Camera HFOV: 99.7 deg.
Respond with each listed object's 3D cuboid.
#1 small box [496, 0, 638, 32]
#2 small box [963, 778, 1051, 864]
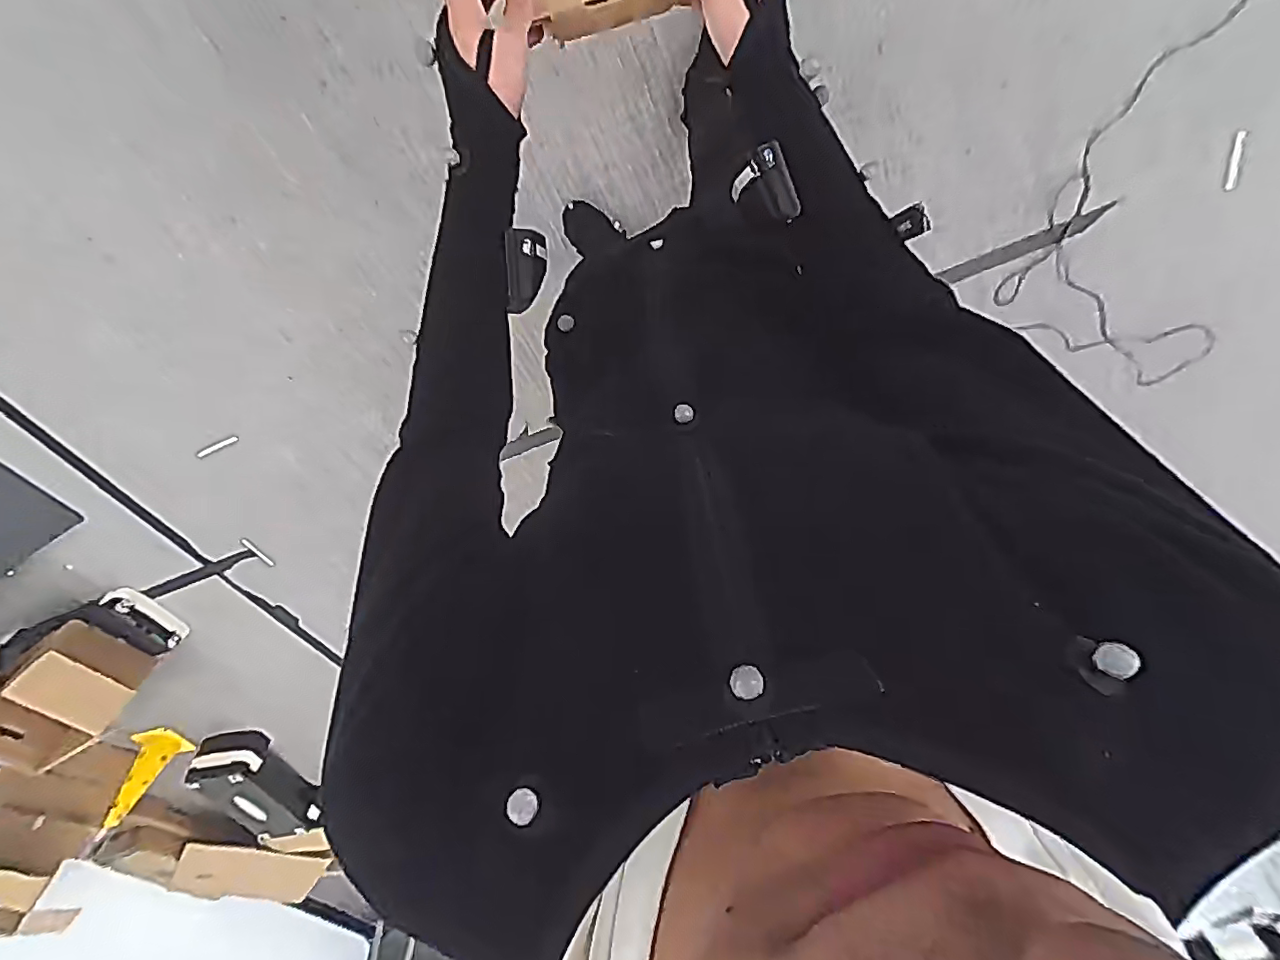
[{"bbox_3d":[-0.057,-0.494,0.438,0.168,0.176,0.179,-15,127,5],"label":"small box"},{"bbox_3d":[1.136,1.062,1.687,0.168,0.176,0.179,-19,125,10],"label":"small box"}]
